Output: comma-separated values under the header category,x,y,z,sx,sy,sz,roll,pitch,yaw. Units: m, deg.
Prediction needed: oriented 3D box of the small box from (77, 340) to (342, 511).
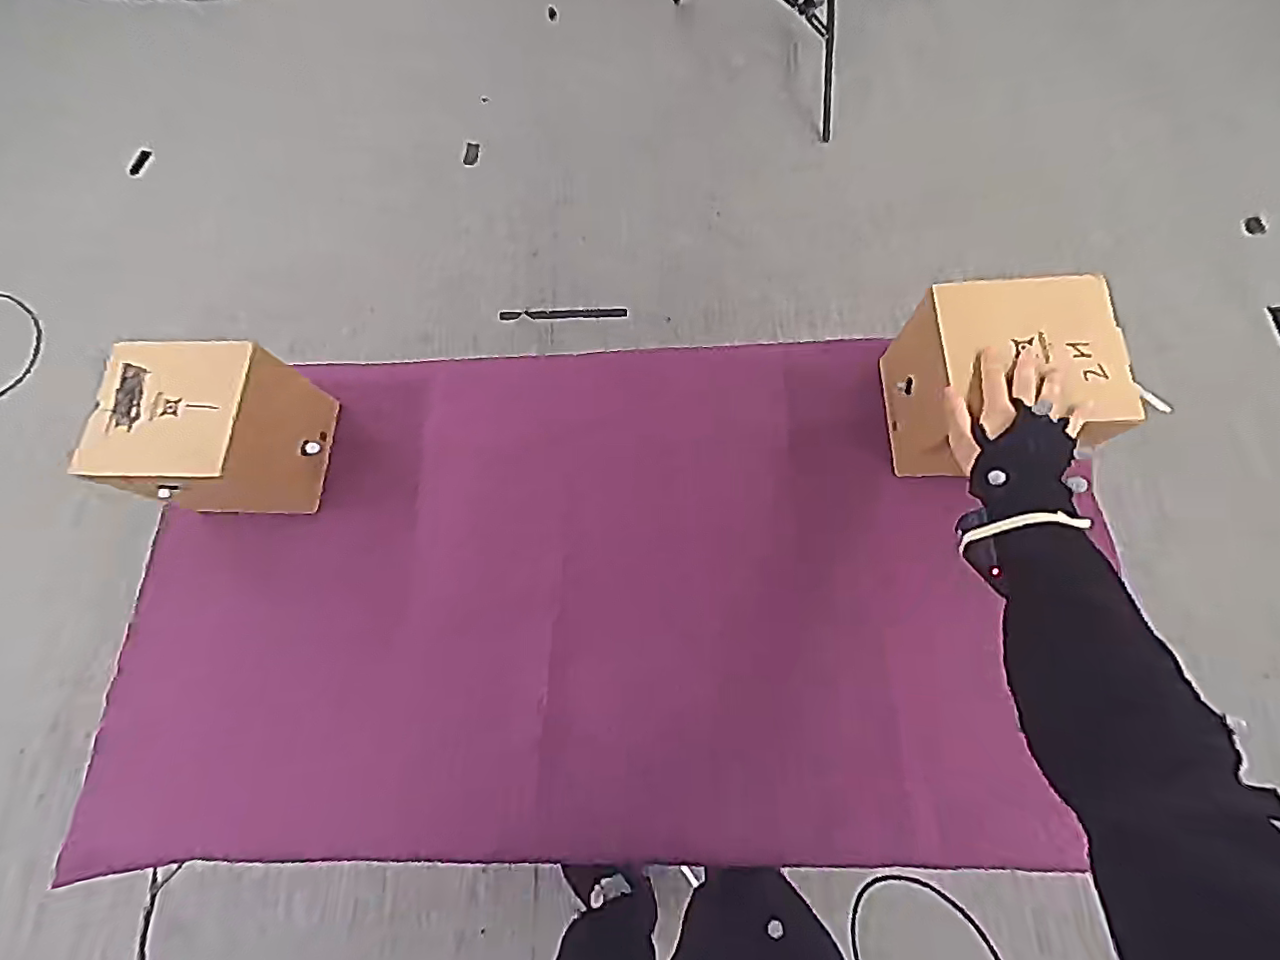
category,x,y,z,sx,sy,sz,roll,pitch,yaw
small box,-0.518,-0.060,0.680,0.179,0.176,0.168,1,73,4

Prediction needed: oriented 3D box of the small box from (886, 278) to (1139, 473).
category,x,y,z,sx,sy,sz,roll,pitch,yaw
small box,0.400,-0.108,0.623,0.179,0.176,0.168,-1,74,4
